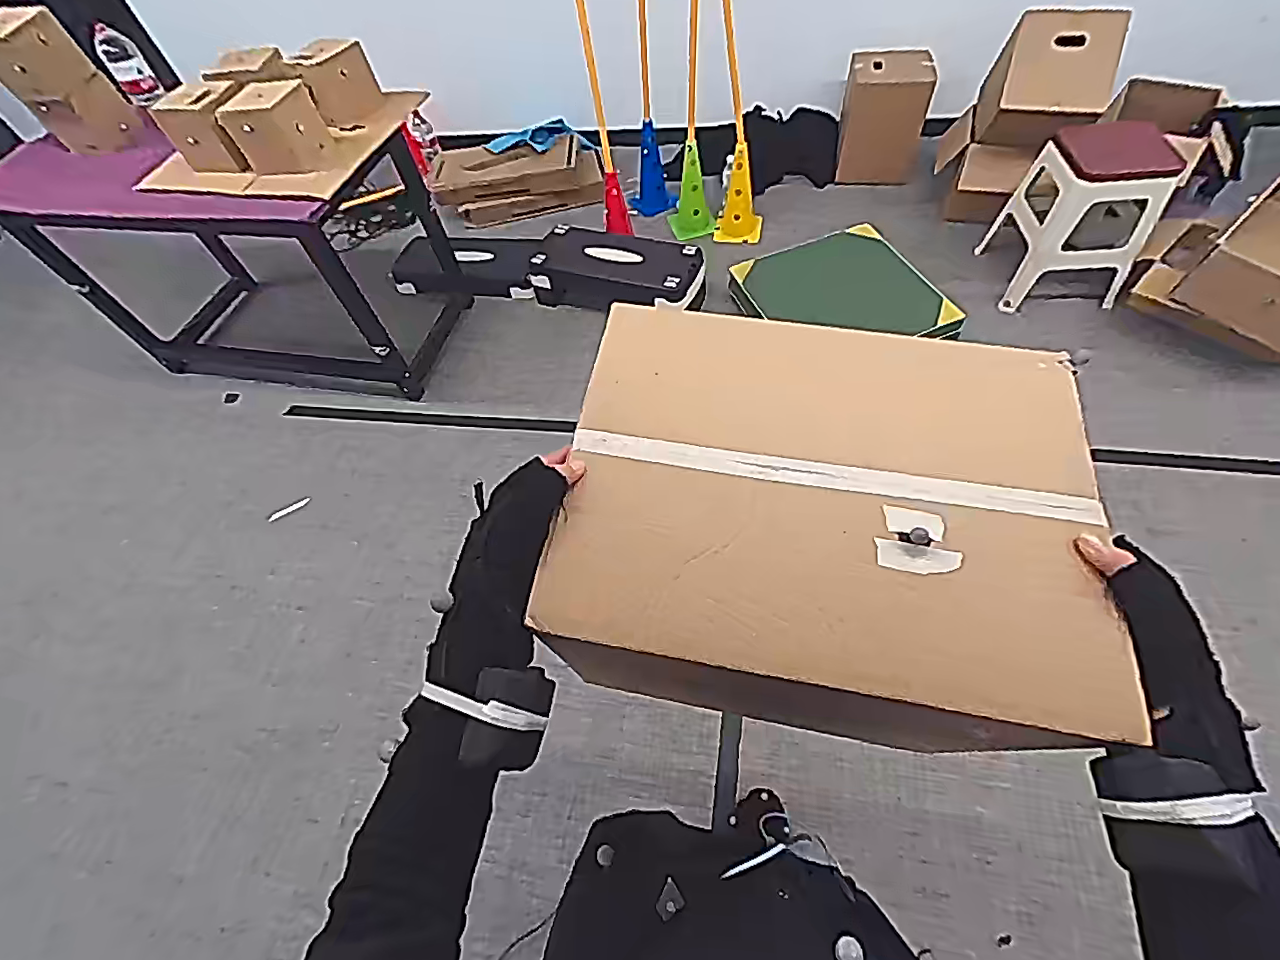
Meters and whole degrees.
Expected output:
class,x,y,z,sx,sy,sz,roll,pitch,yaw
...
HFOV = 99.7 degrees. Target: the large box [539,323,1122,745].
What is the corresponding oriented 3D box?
class,x,y,z,sx,sy,sz,roll,pitch,yaw
large box,0.148,0.074,0.568,0.408,0.320,0.320,8,65,7
